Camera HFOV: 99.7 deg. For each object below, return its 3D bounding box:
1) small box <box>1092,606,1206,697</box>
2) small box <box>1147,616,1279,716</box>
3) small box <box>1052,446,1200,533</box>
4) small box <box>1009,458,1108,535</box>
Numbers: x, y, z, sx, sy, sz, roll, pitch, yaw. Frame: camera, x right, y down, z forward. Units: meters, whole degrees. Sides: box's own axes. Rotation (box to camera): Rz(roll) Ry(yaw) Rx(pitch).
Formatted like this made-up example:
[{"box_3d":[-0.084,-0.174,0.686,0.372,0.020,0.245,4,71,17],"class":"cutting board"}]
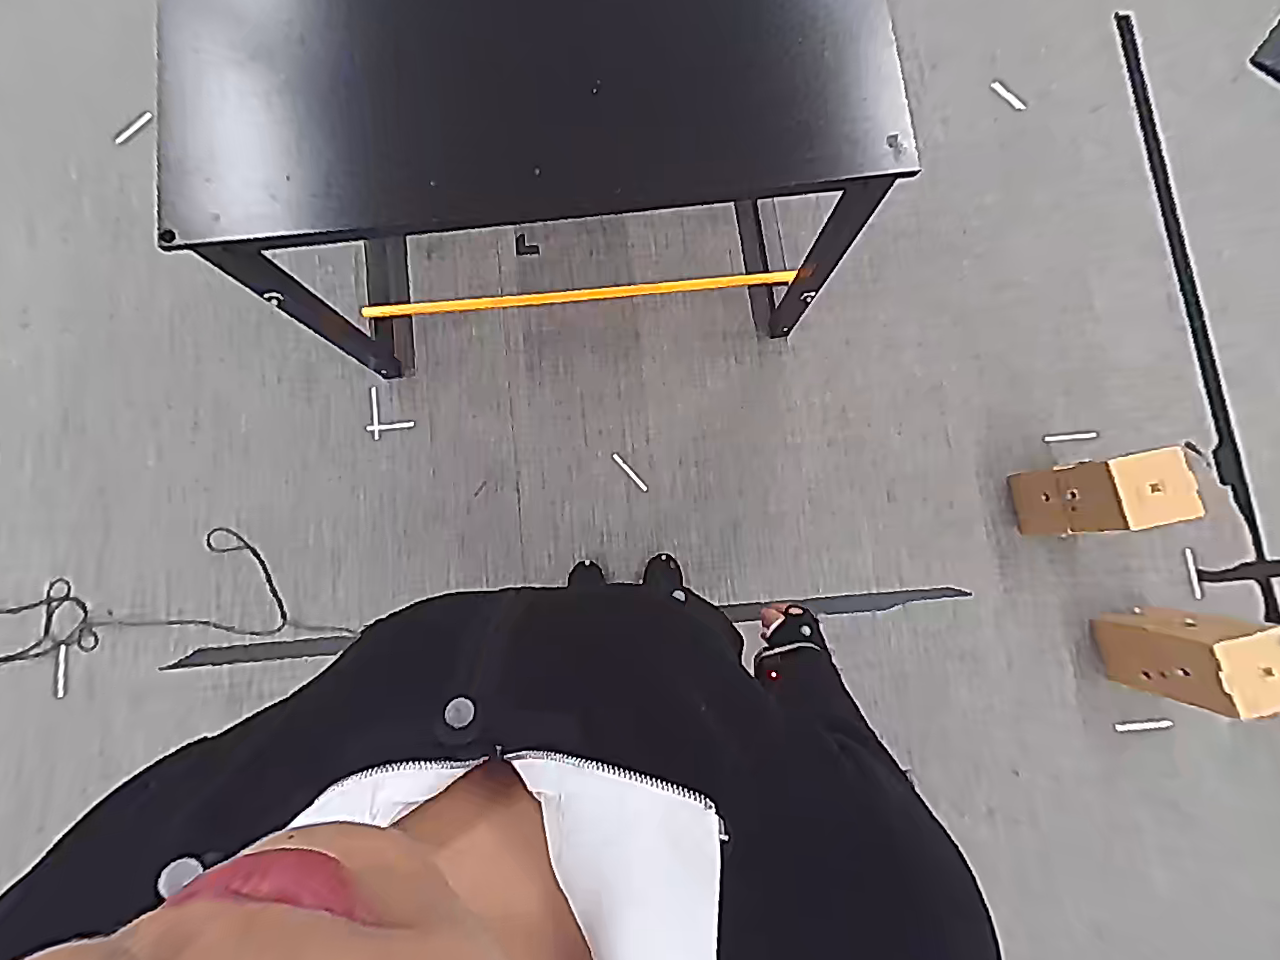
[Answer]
[{"box_3d":[1.338,0.439,1.406,0.168,0.176,0.179,-12,83,-2],"class":"small box"},{"box_3d":[1.330,0.419,1.244,0.179,0.176,0.168,-13,83,-1],"class":"small box"},{"box_3d":[1.147,0.028,1.290,0.179,0.176,0.168,-12,82,0],"class":"small box"},{"box_3d":[1.135,0.049,1.451,0.168,0.176,0.179,-9,83,-1],"class":"small box"}]
